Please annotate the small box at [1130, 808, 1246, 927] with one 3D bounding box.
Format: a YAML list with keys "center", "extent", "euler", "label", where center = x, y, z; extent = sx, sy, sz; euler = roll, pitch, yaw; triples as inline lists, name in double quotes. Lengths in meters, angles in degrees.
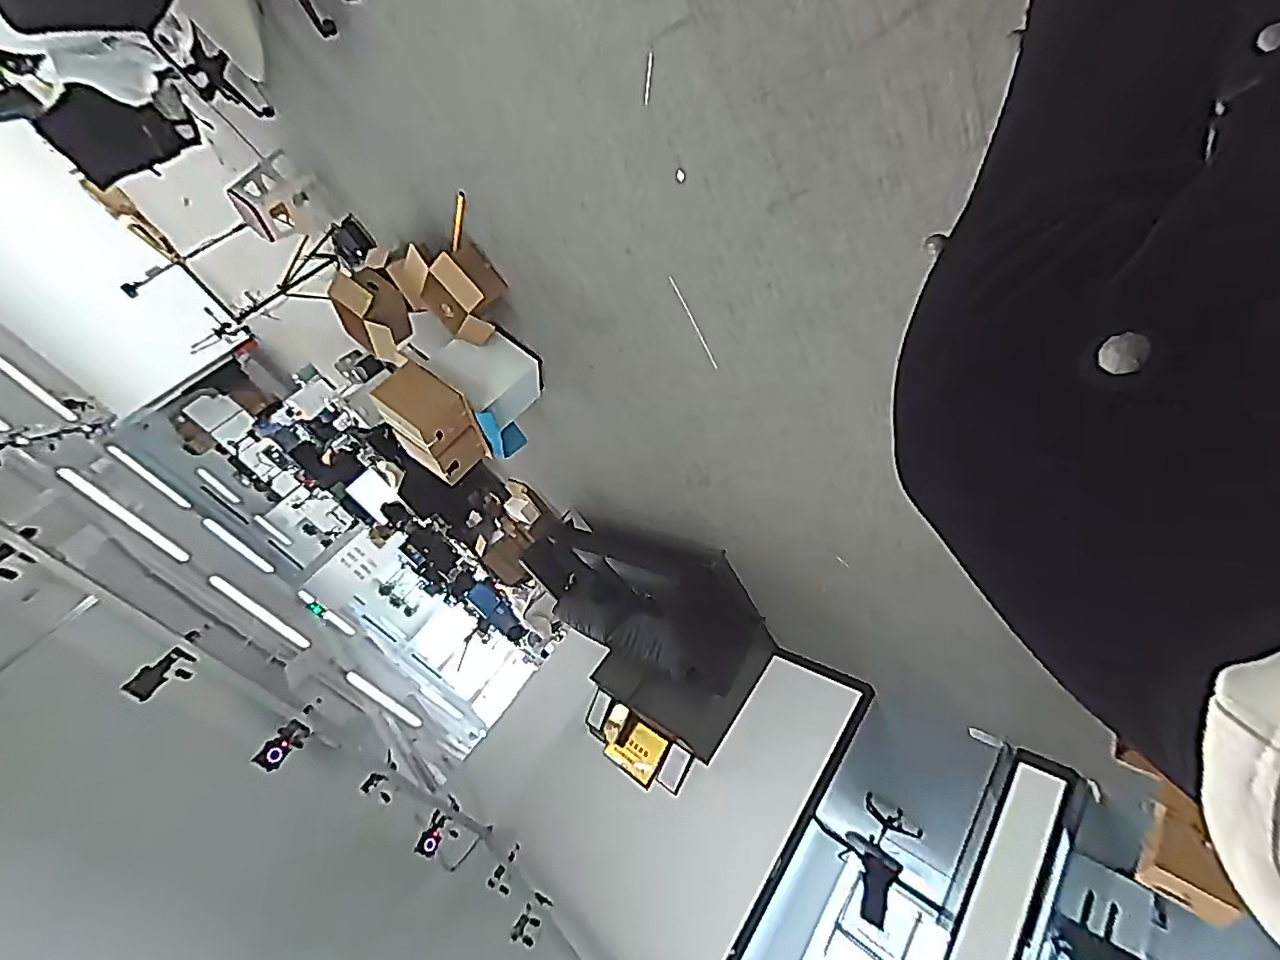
- center: [1.421, 1.001, 1.403]
  extent: [0.168, 0.176, 0.179]
  euler: [20, 146, 41]
  label: "small box"

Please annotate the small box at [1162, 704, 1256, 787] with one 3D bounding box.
- center: [1.618, 0.782, 1.543]
  extent: [0.168, 0.176, 0.179]
  euler: [12, 141, 48]
  label: "small box"

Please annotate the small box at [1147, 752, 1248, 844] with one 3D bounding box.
- center: [1.517, 0.888, 1.473]
  extent: [0.168, 0.176, 0.179]
  euler: [12, 141, 49]
  label: "small box"
